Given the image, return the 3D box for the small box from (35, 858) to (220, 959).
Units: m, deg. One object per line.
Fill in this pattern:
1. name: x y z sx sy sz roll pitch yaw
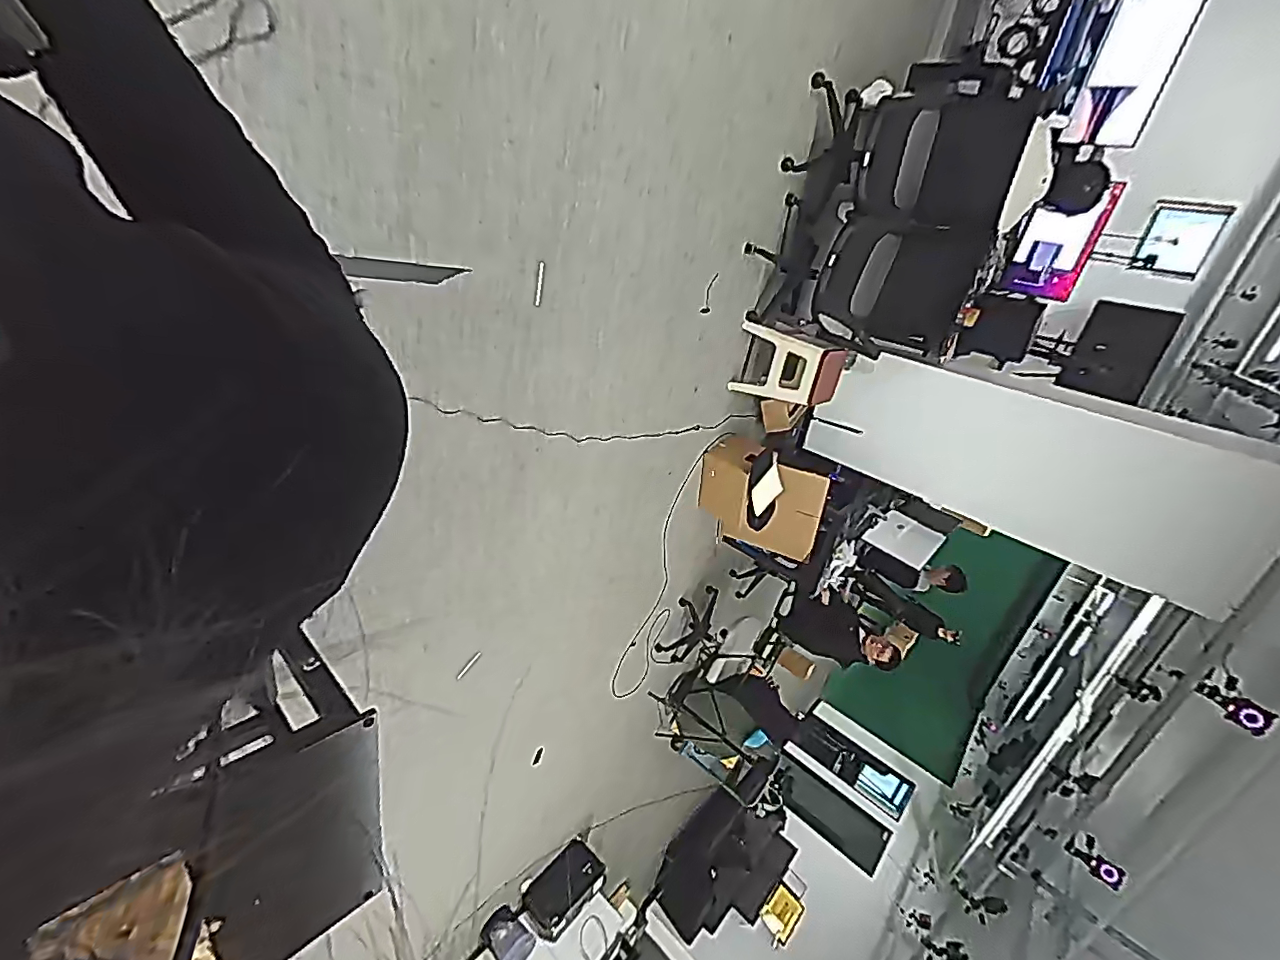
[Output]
1. small box: -0.746 0.711 0.798 0.168 0.176 0.179 -18 128 -46
